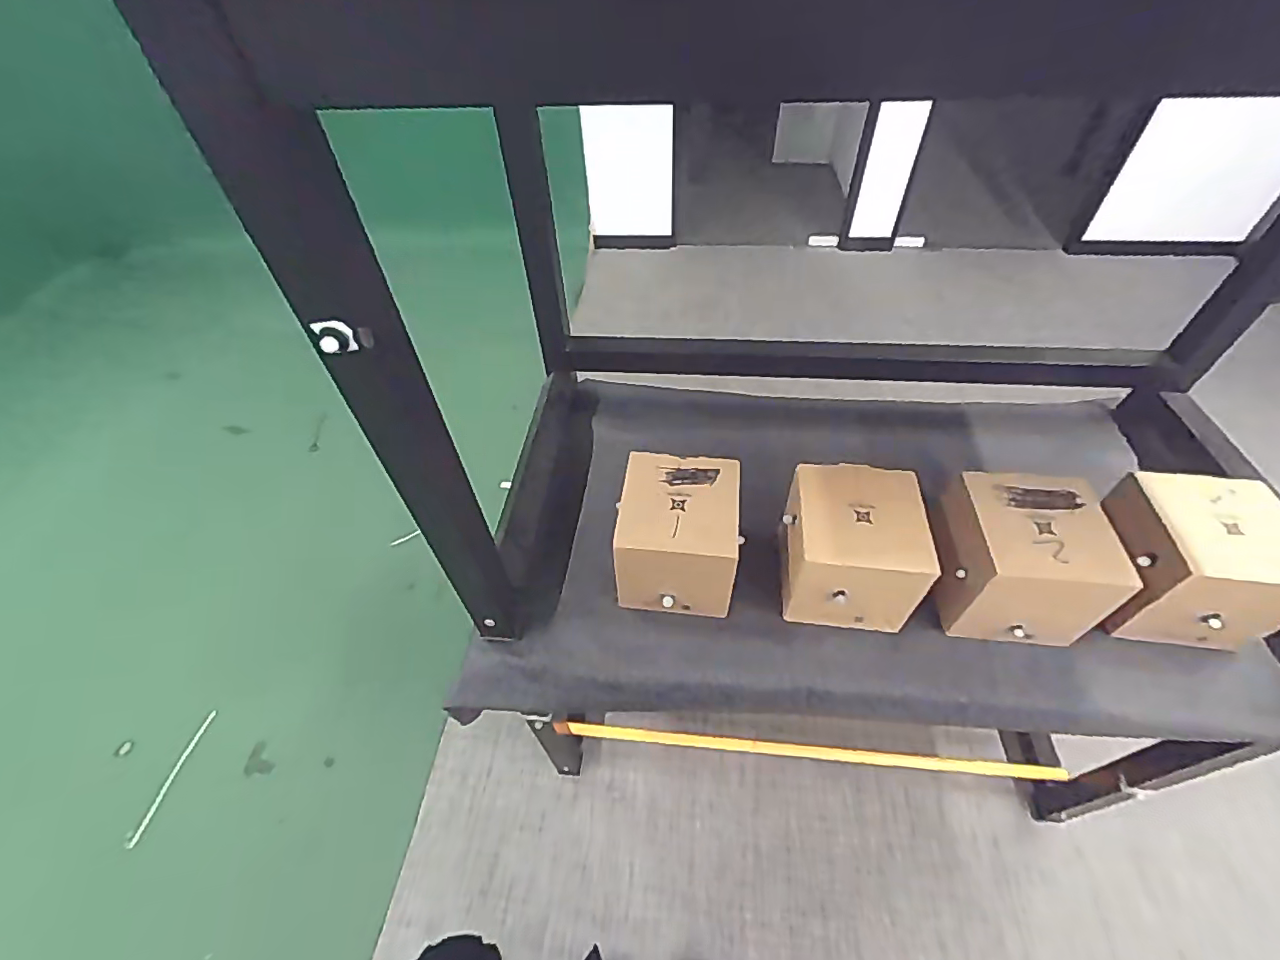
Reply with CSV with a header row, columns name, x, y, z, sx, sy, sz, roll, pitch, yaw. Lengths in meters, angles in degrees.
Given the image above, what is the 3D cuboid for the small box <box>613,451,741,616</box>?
name,x,y,z,sx,sy,sz,roll,pitch,yaw
small box,0.058,0.081,0.815,0.168,0.176,0.179,5,50,7

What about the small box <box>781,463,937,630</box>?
name,x,y,z,sx,sy,sz,roll,pitch,yaw
small box,0.302,0.099,0.788,0.168,0.176,0.179,5,49,7

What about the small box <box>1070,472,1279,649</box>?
name,x,y,z,sx,sy,sz,roll,pitch,yaw
small box,0.753,0.114,0.749,0.168,0.176,0.179,6,48,8
